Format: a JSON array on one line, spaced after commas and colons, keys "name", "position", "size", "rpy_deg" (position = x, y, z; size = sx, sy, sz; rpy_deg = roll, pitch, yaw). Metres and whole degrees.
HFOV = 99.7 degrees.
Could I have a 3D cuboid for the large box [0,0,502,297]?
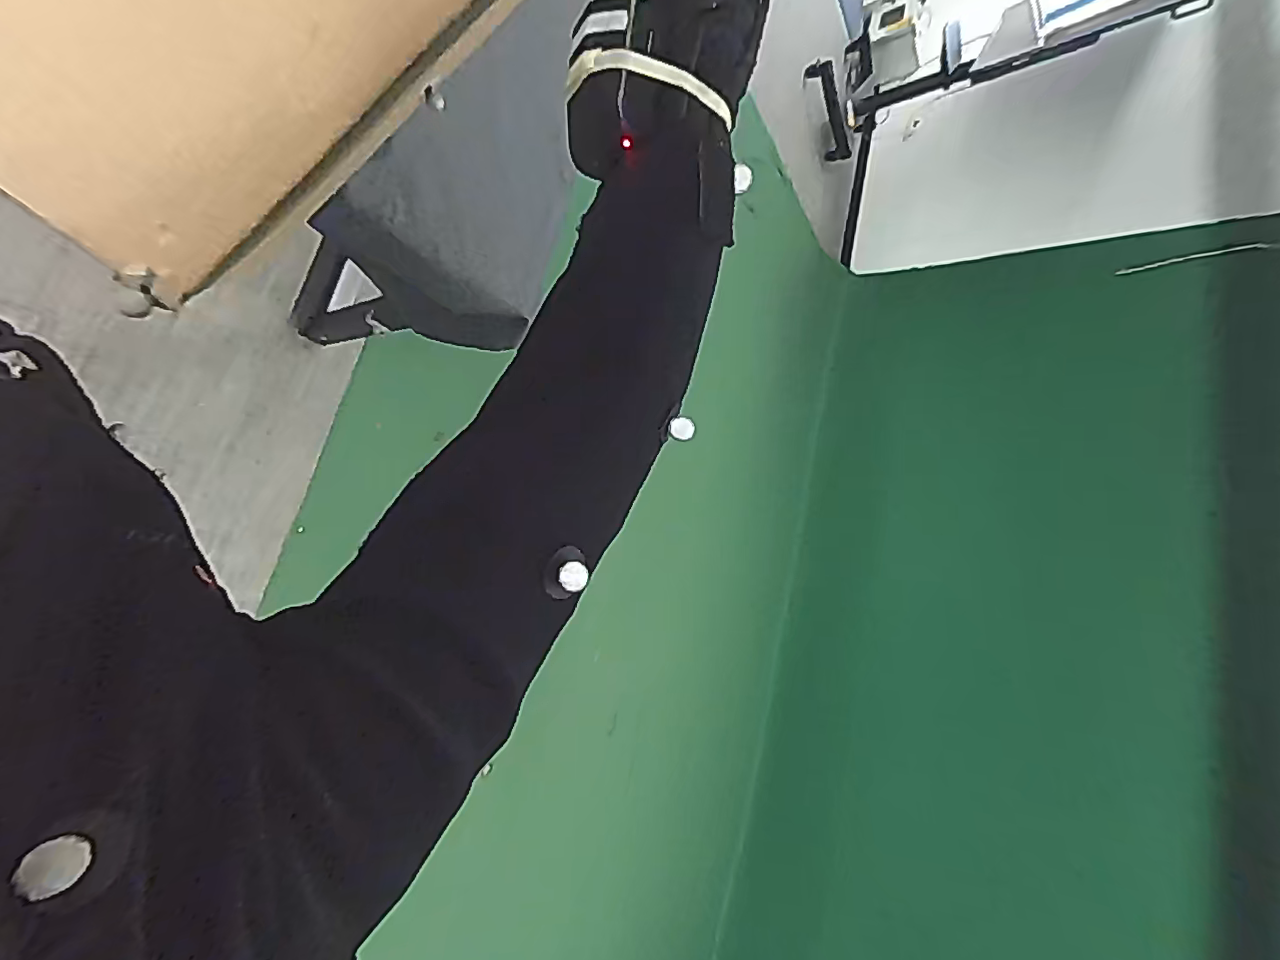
[{"name": "large box", "position": [-0.246, -0.380, 0.307], "size": [0.408, 0.320, 0.320], "rpy_deg": [-48, 126, -1]}]
